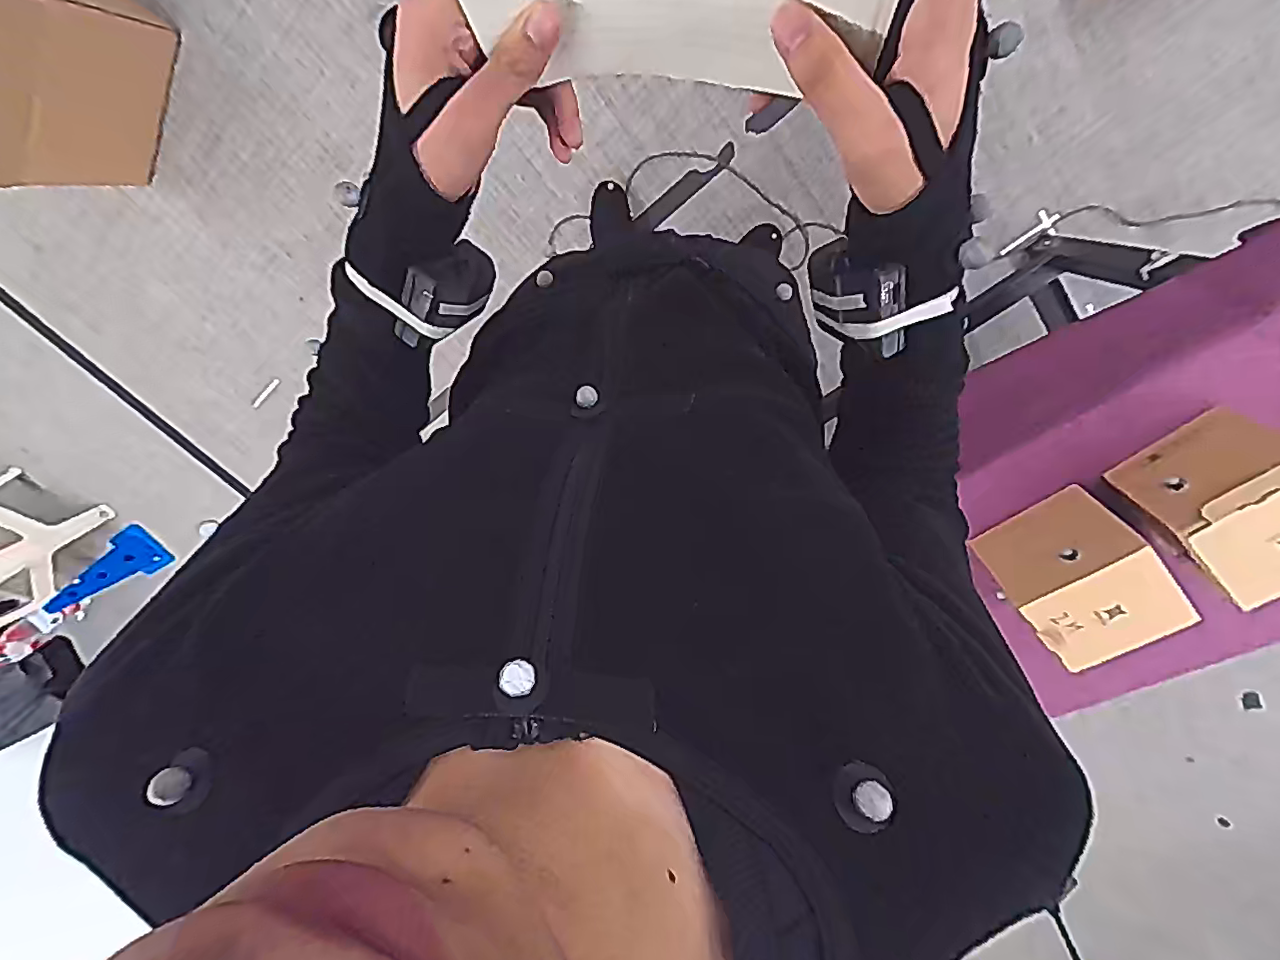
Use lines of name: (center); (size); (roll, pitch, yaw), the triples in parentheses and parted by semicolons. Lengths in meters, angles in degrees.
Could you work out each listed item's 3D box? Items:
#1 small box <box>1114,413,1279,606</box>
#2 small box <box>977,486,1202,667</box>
small box: (0.814, 0.030, 0.738); (0.179, 0.176, 0.168); (40, 117, -15)
small box: (0.661, 0.140, 0.818); (0.179, 0.176, 0.168); (-38, 108, 25)
